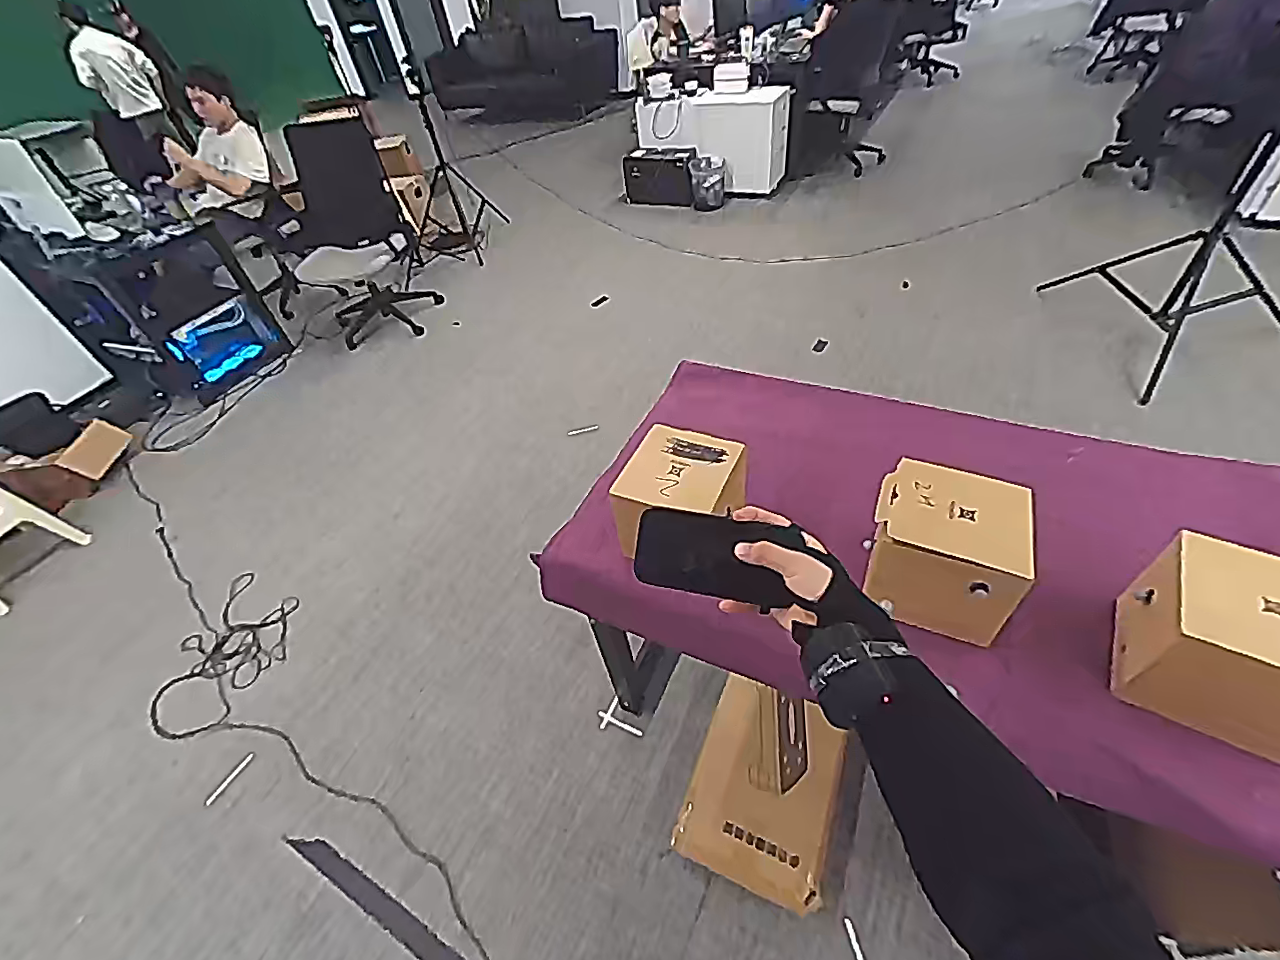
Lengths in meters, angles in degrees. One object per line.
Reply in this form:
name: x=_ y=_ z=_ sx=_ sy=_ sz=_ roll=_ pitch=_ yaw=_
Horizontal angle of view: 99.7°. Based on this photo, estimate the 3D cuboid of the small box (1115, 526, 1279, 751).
small box: x=0.715 y=0.191 z=0.649 sx=0.179 sy=0.176 sz=0.168 roll=21 pitch=53 yaw=26

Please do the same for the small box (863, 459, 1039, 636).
small box: x=0.441 y=0.100 z=0.782 sx=0.179 sy=0.176 sz=0.168 roll=14 pitch=48 yaw=22
